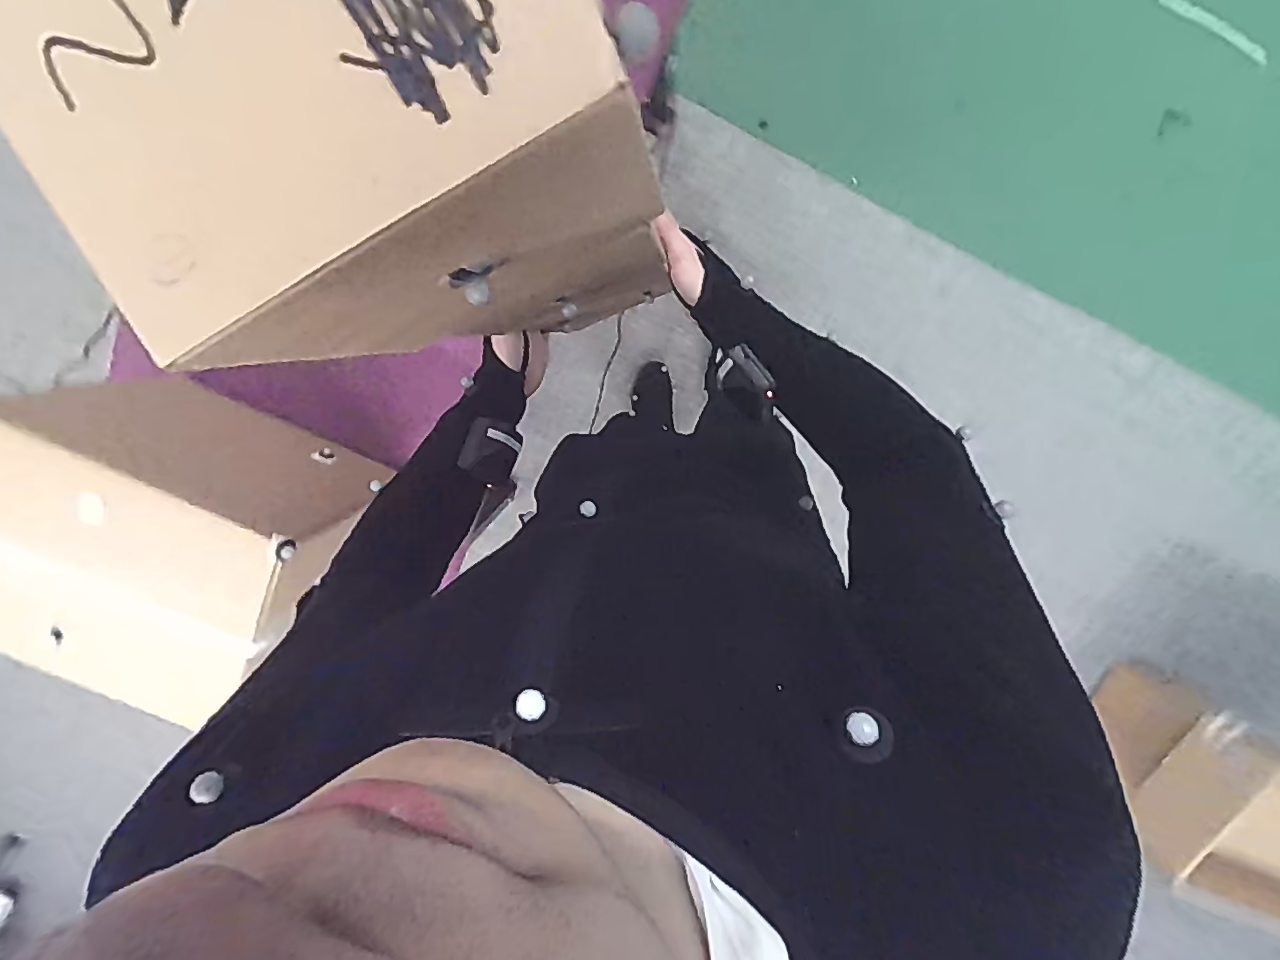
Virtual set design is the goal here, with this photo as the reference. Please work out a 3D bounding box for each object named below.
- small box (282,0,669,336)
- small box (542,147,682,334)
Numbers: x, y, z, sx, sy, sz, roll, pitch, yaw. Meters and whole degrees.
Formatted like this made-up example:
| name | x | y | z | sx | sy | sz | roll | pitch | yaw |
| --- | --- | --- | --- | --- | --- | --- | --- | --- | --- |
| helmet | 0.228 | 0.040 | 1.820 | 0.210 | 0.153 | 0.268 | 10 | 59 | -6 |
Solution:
| name | x | y | z | sx | sy | sz | roll | pitch | yaw |
| --- | --- | --- | --- | --- | --- | --- | --- | --- | --- |
| small box | -0.085 | -0.210 | 0.377 | 0.168 | 0.176 | 0.179 | -19 | 103 | 11 |
| small box | -0.053 | -0.294 | 0.694 | 0.179 | 0.176 | 0.168 | -19 | 103 | 10 |
